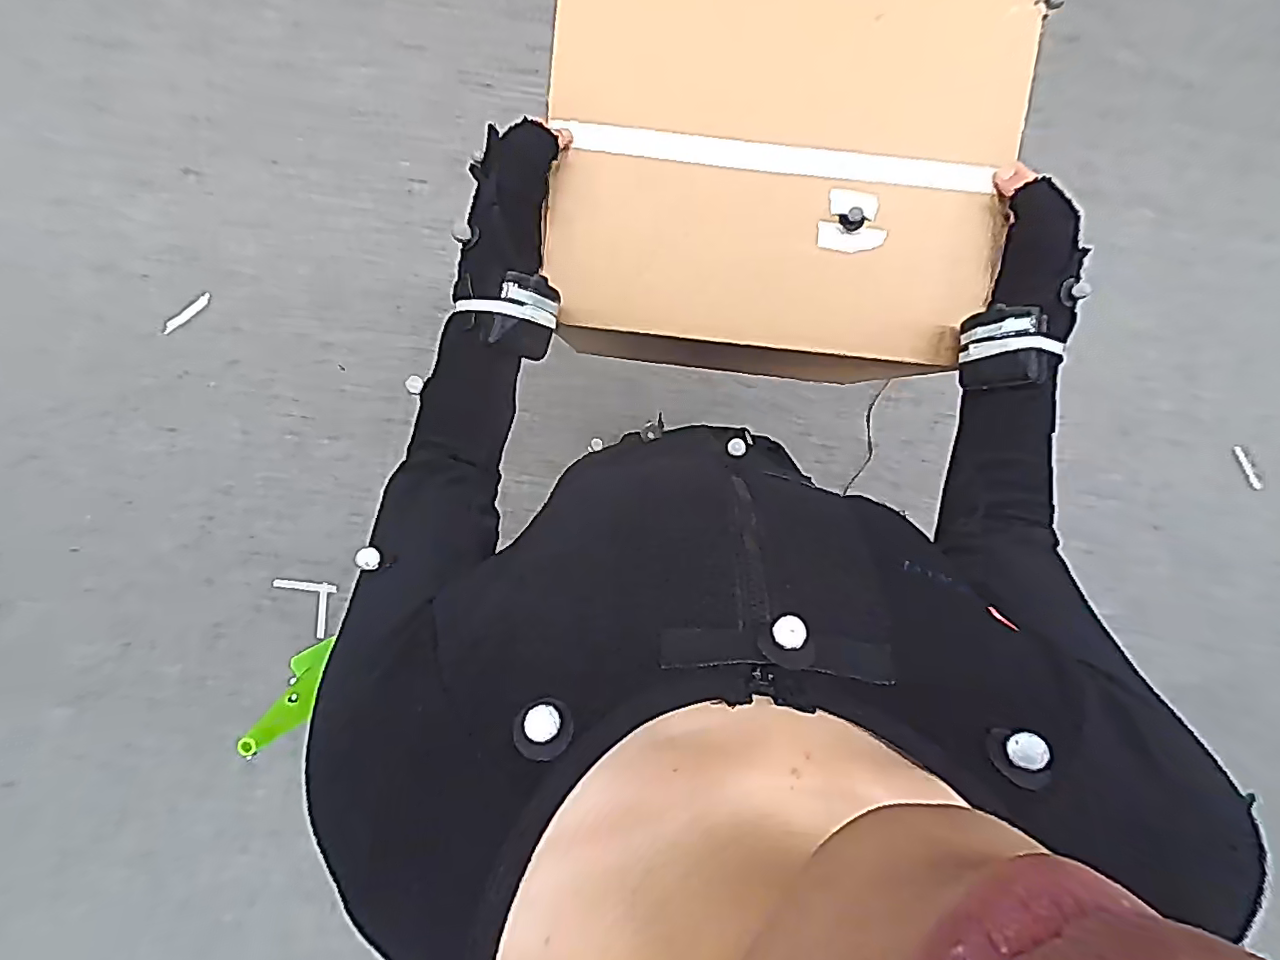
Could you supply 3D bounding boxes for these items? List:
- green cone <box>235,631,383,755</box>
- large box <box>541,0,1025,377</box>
[{"bbox_3d":[-0.848,0.556,1.344,0.202,0.368,0.200,-29,94,4],"label":"green cone"},{"bbox_3d":[0.116,-0.298,0.620,0.408,0.320,0.320,6,98,-2],"label":"large box"}]
